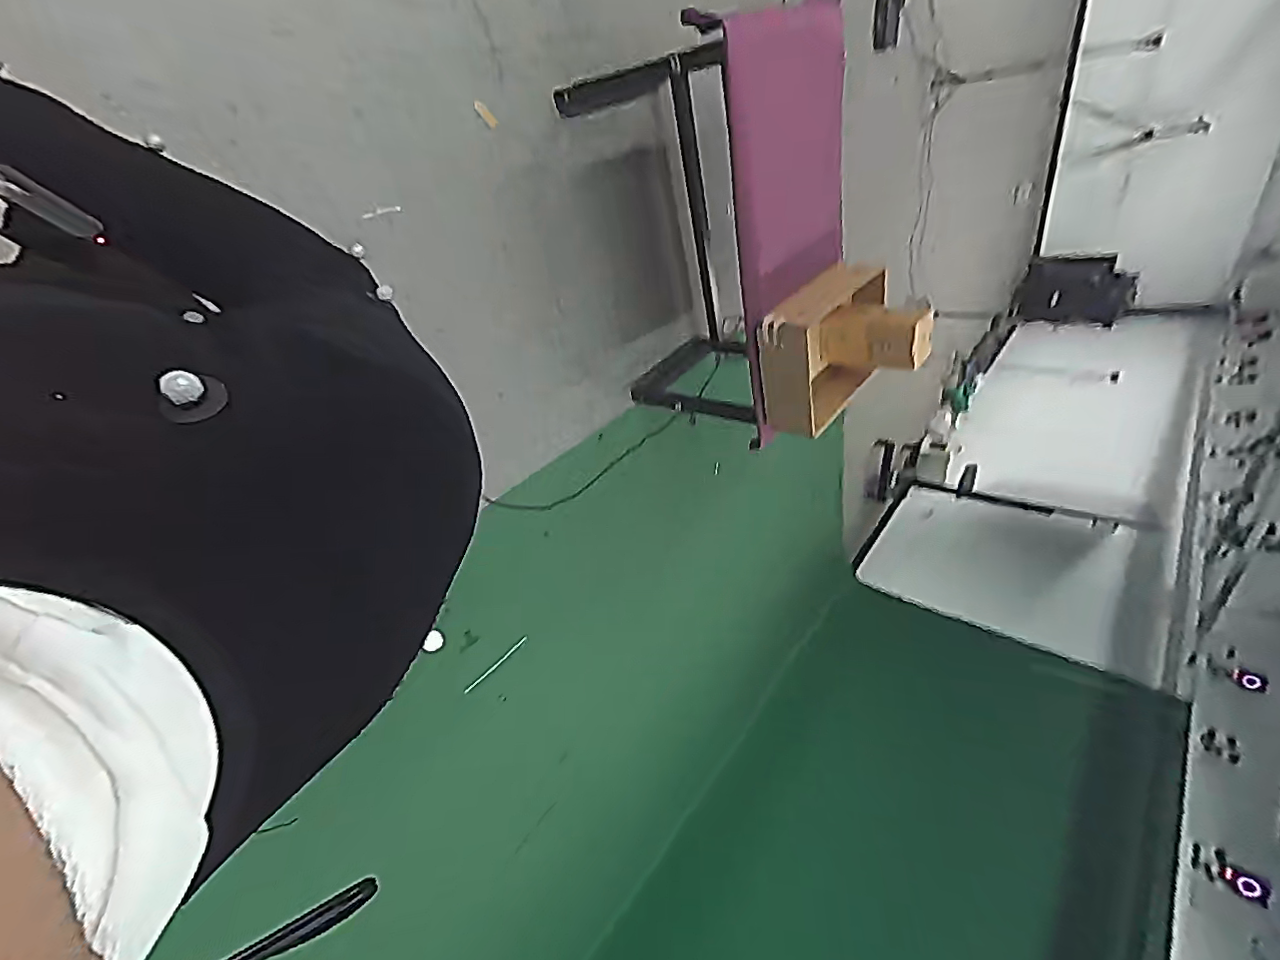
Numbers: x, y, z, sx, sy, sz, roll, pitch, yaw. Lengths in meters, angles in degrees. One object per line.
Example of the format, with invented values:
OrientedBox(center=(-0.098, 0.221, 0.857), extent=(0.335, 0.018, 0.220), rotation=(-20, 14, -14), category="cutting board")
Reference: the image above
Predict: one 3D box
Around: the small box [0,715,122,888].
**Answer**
OrientedBox(center=(-0.954, 0.479, 0.819), extent=(0.179, 0.176, 0.168), rotation=(43, 71, -49), category="small box")

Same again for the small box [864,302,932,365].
OrientedBox(center=(0.898, -0.515, 1.891), extent=(0.179, 0.176, 0.168), rotation=(-37, 129, -34), category="small box")

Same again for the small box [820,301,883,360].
OrientedBox(center=(0.777, -0.554, 1.994), extent=(0.179, 0.176, 0.168), rotation=(-38, 129, -34), category="small box")
